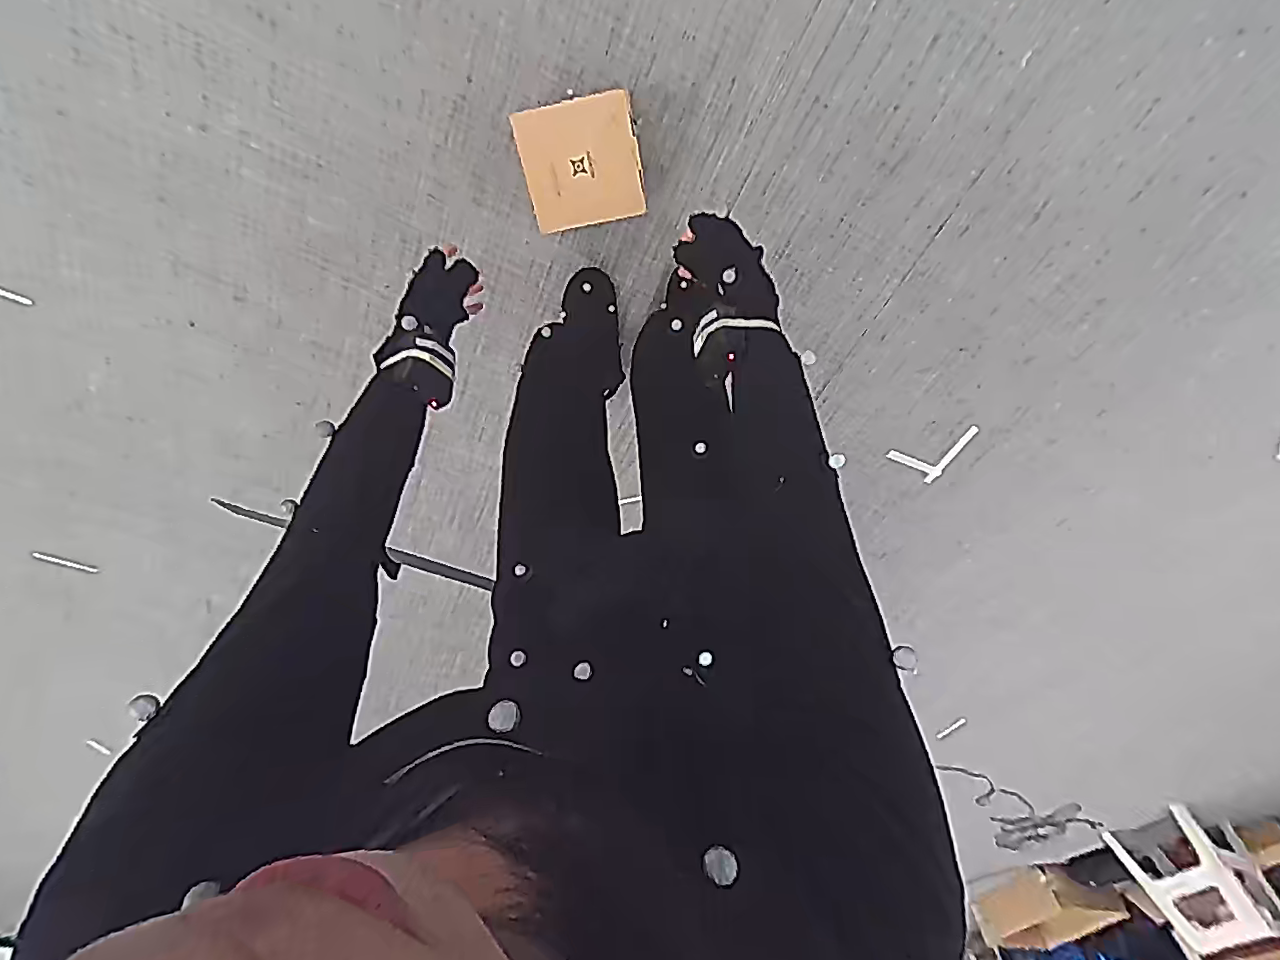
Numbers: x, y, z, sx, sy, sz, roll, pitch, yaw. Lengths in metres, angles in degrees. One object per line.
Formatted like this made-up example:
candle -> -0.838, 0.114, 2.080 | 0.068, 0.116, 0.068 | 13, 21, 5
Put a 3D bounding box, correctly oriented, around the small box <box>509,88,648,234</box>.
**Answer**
small box -> -0.088, -0.513, 0.866 | 0.179, 0.176, 0.168 | -9, 124, 7
